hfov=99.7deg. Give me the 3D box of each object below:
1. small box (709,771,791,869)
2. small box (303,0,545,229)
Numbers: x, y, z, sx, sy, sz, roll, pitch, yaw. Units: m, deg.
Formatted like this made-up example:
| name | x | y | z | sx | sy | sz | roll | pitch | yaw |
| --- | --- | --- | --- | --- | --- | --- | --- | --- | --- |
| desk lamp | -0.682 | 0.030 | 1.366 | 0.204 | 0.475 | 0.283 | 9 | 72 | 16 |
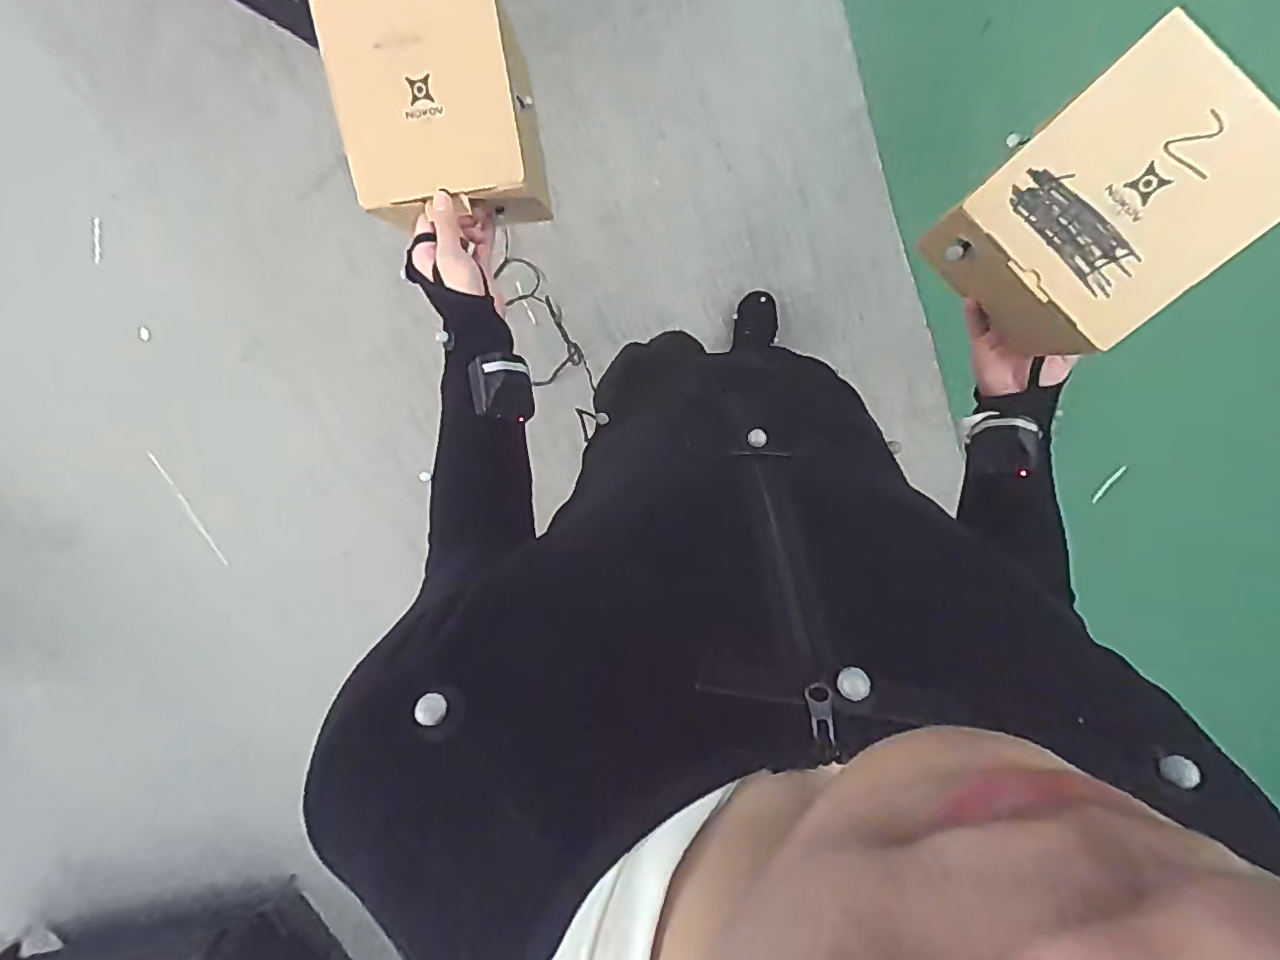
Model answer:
| name | x | y | z | sx | sy | sz | roll | pitch | yaw |
| --- | --- | --- | --- | --- | --- | --- | --- | --- | --- |
| small box | 0.285 | 0.897 | 1.401 | 0.168 | 0.176 | 0.179 | -17 | 103 | 13 |
| small box | -0.204 | -0.374 | 0.569 | 0.168 | 0.176 | 0.179 | -7 | 105 | 2 |
